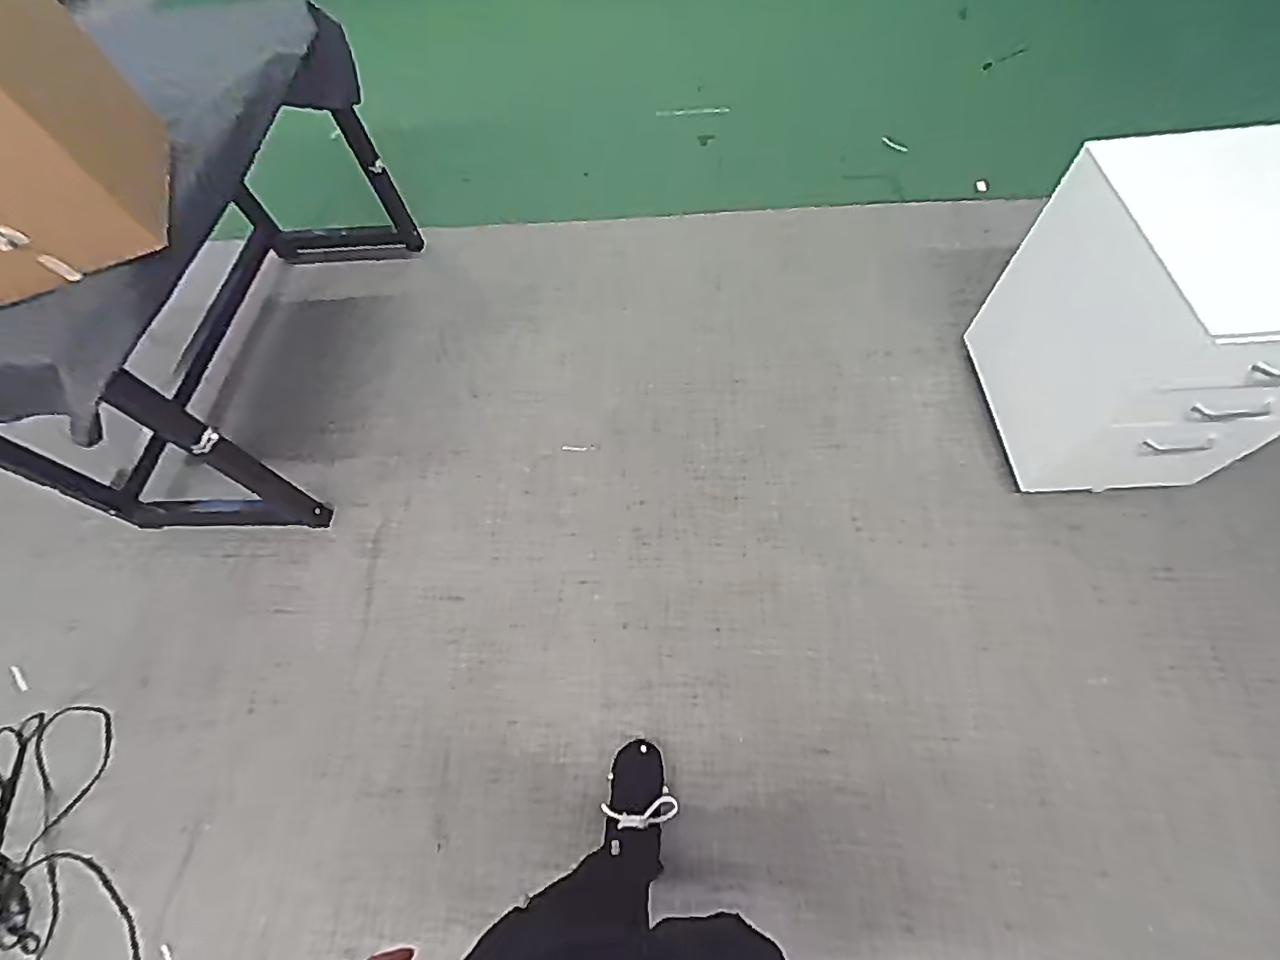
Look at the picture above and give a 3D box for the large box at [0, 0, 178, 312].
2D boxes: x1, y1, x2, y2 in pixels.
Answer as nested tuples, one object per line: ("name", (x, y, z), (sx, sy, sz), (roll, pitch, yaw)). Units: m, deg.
("large box", (-1.056, -0.567, 0.911), (0.320, 0.320, 0.408), (-23, 60, -7))
